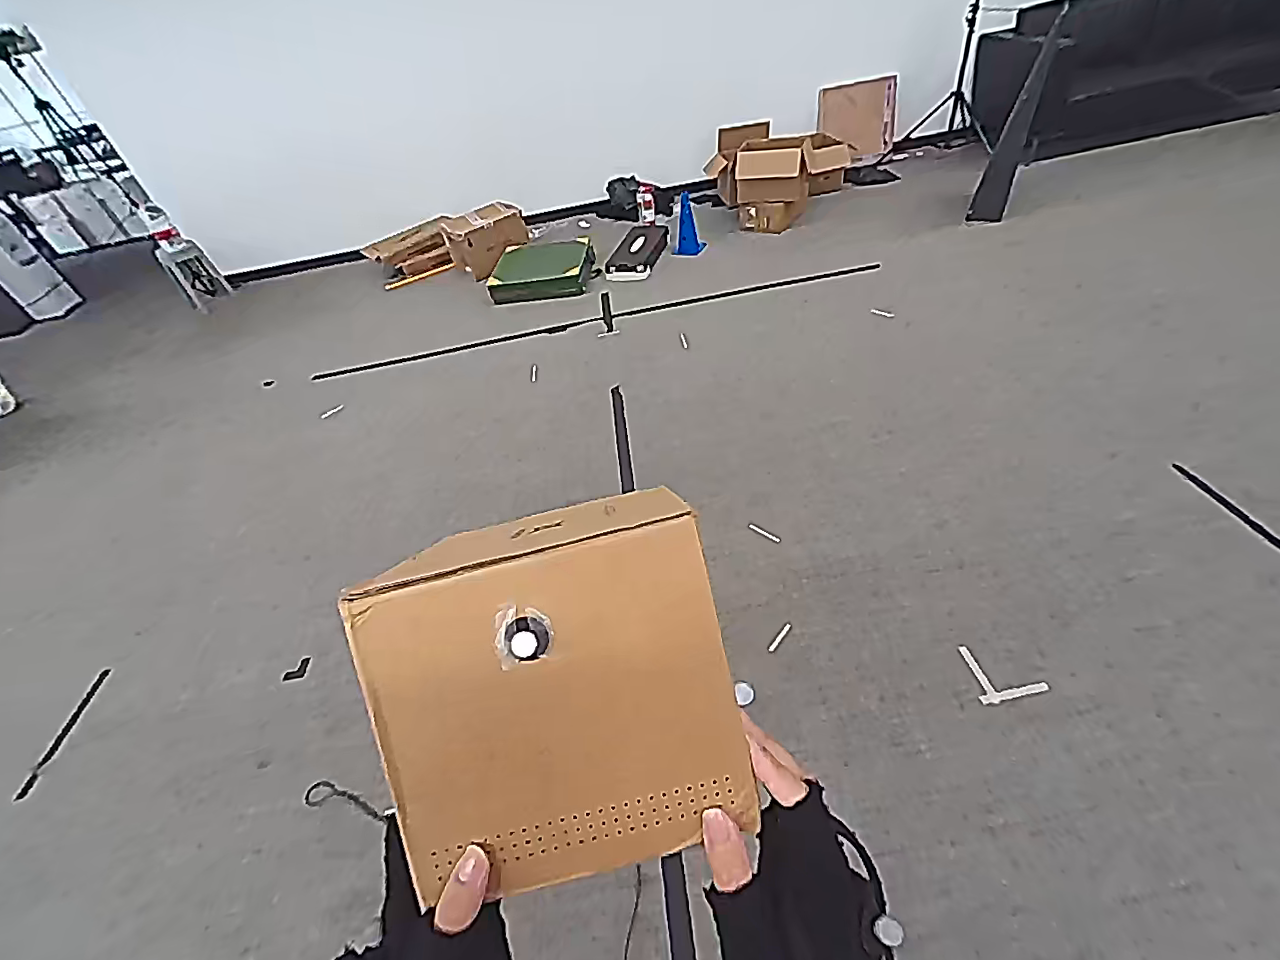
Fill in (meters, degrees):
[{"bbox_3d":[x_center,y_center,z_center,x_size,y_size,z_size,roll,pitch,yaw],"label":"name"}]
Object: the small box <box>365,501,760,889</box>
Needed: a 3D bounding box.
[{"bbox_3d":[-0.039,0.120,0.355,0.179,0.176,0.168,-13,3,0],"label":"small box"}]
